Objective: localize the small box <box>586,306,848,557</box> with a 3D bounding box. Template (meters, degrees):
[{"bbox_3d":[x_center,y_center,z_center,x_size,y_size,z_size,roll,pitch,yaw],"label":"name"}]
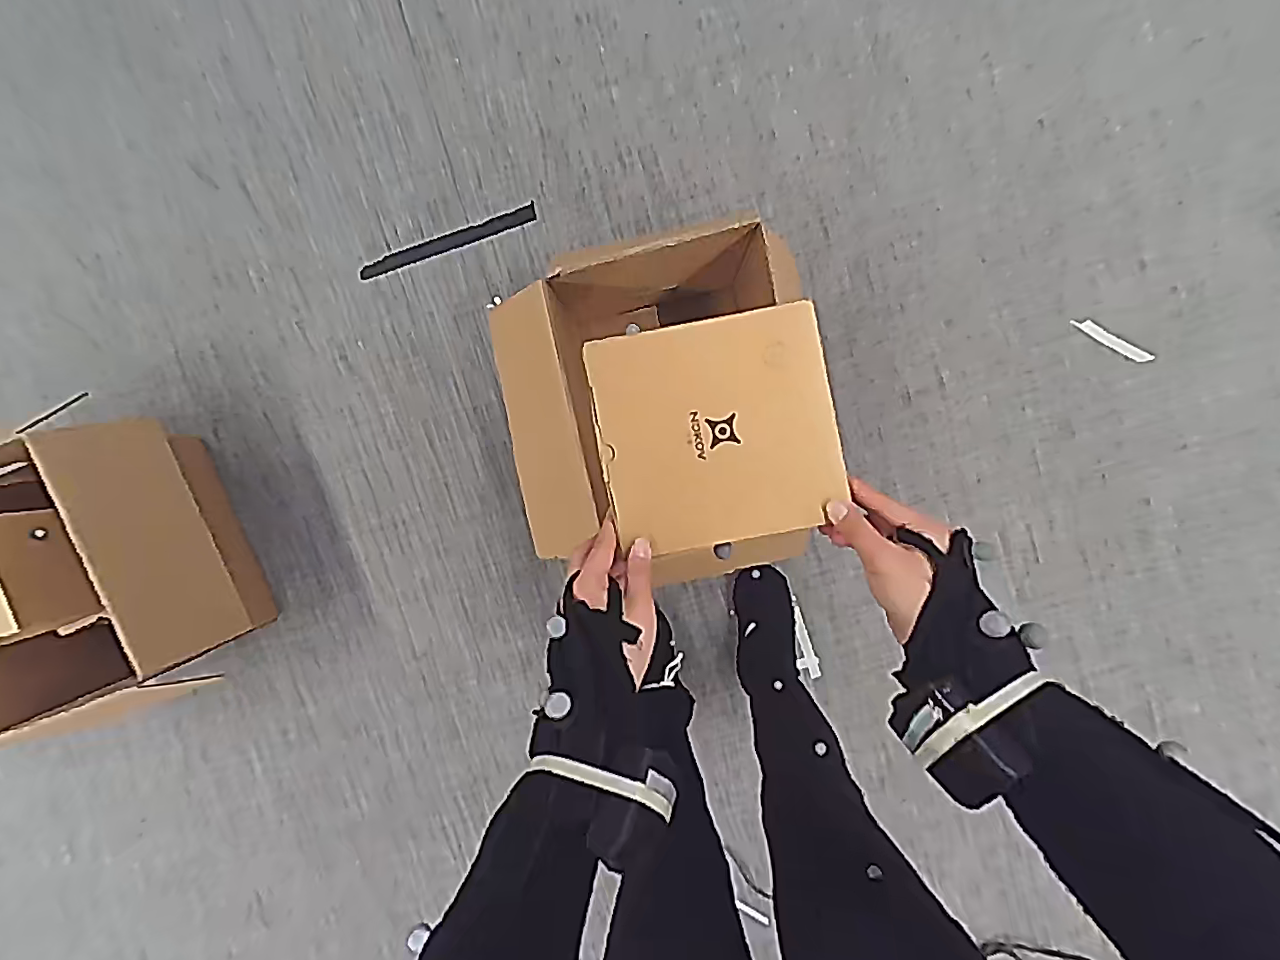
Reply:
[{"bbox_3d":[0.060,-0.037,0.486,0.179,0.176,0.168,-11,90,3],"label":"small box"}]
